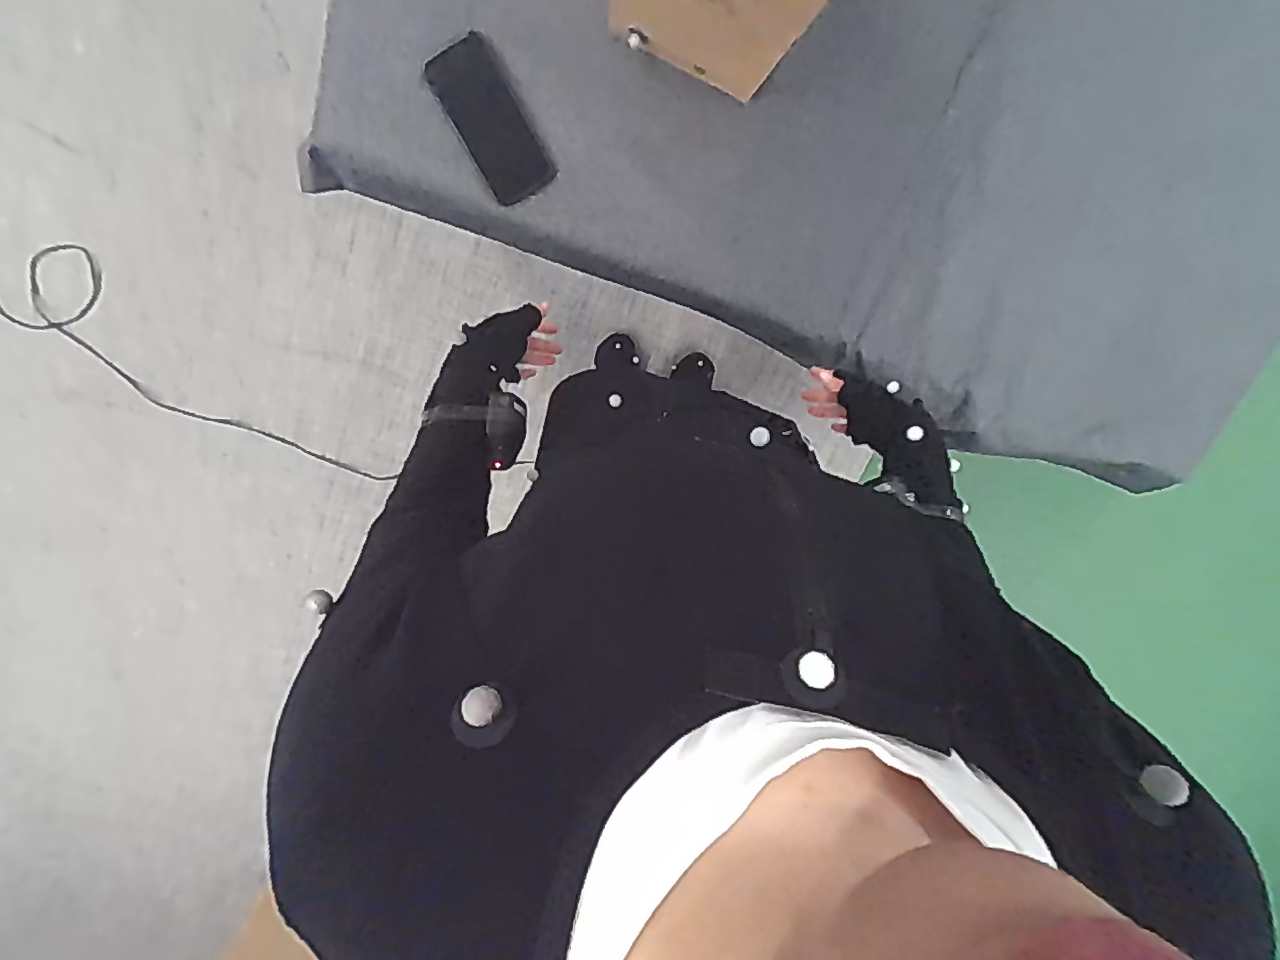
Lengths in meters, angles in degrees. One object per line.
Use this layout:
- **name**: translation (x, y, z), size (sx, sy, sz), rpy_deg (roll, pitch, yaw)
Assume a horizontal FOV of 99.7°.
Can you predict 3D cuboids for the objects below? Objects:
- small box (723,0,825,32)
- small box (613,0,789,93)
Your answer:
- **small box**: translation (0.091, -0.435, 0.326), size (0.168, 0.176, 0.179), rpy_deg (20, 107, -10)
- **small box**: translation (0.080, -0.491, 0.478), size (0.168, 0.176, 0.179), rpy_deg (20, 105, -11)
